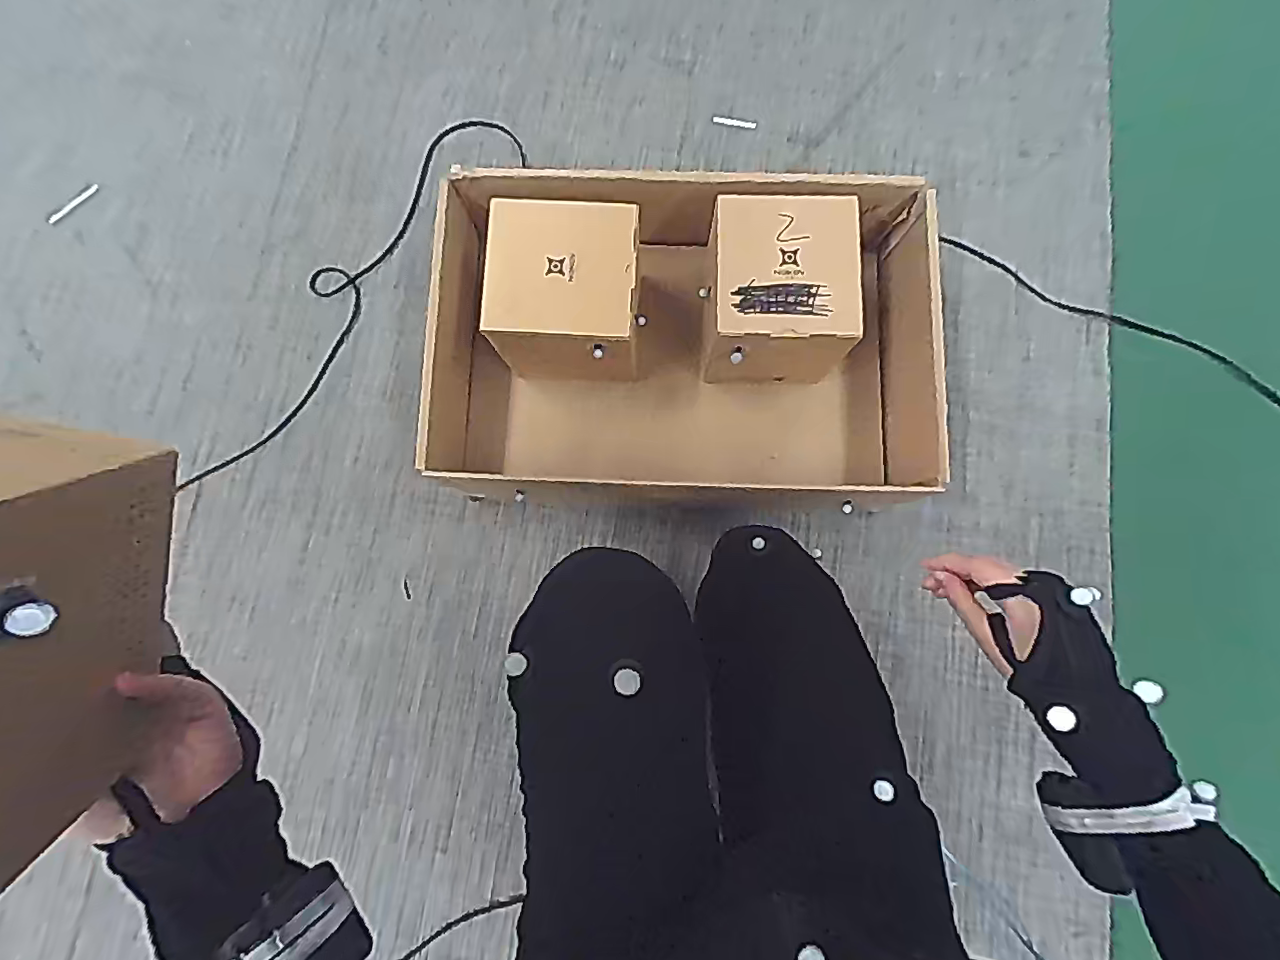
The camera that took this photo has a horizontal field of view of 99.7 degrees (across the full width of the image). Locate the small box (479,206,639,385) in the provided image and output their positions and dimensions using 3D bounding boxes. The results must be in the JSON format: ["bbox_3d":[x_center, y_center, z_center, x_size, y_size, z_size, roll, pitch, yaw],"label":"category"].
[{"bbox_3d":[-0.093,-0.228,0.705,0.179,0.176,0.168,2,83,0],"label":"small box"}]

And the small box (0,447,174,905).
[{"bbox_3d":[-0.318,0.076,0.197,0.168,0.176,0.179,13,102,-10],"label":"small box"}]
